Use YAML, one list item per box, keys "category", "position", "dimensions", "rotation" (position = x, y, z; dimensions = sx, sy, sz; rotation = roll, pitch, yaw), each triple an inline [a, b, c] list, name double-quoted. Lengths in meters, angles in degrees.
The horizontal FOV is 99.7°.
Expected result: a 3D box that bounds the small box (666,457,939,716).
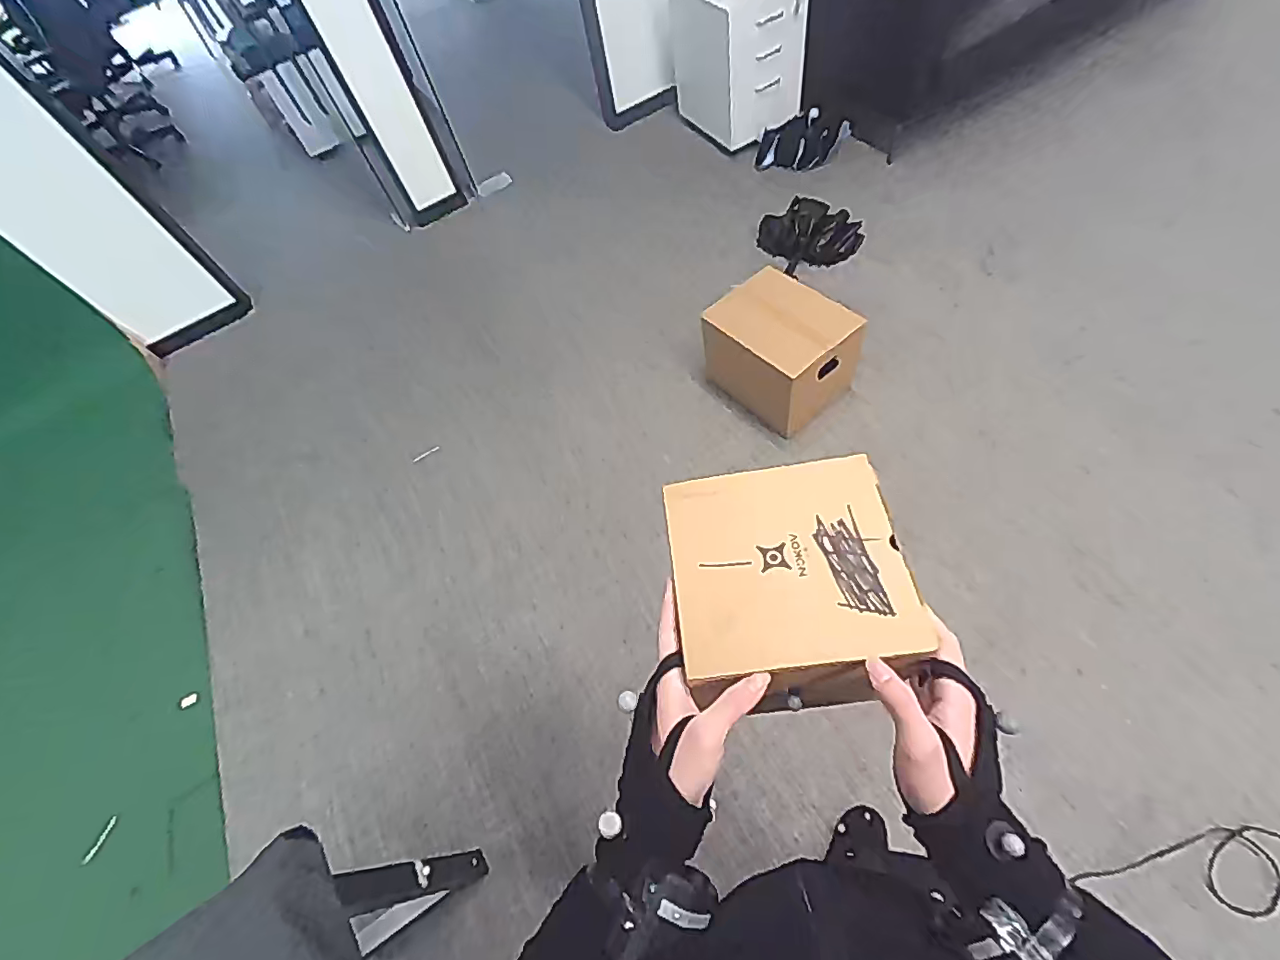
- category: "small box"
  position: [0.125, 0.103, 0.483]
  dimensions: [0.179, 0.176, 0.168]
  rotation: [-9, 56, 5]
